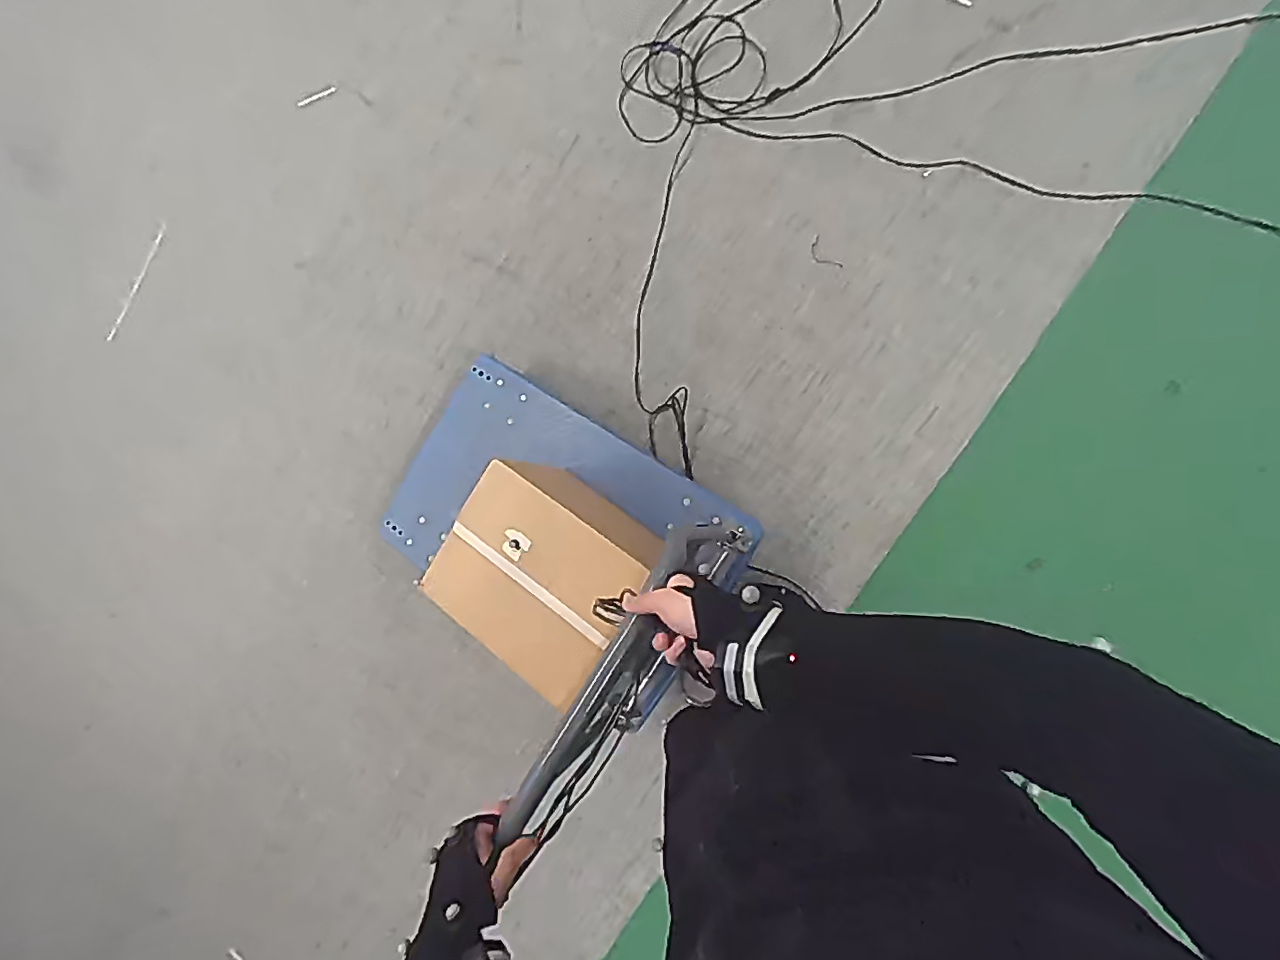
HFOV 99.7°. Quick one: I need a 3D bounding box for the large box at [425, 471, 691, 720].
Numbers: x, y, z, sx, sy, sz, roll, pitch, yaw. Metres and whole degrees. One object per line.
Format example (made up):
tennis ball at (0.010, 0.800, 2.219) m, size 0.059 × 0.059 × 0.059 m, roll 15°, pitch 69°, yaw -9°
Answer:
large box at (-0.158, 0.222, 1.167) m, size 0.408 × 0.320 × 0.320 m, roll 34°, pitch 95°, yaw 17°
